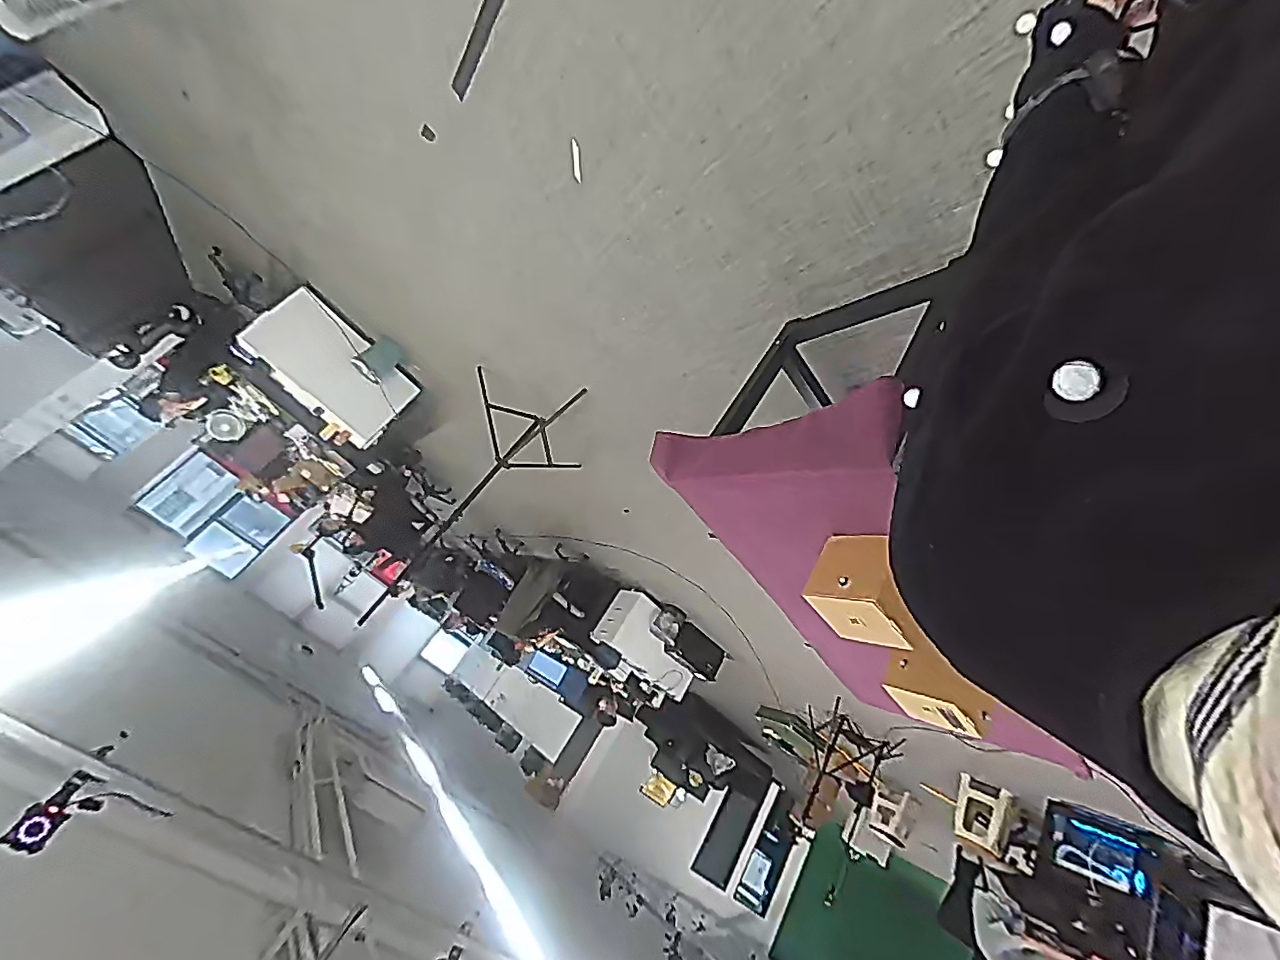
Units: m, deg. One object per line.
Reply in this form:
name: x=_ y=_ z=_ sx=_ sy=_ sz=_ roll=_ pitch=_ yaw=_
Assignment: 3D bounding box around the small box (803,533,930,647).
small box: x=0.487 y=0.225 z=1.147 sx=0.168 sy=0.176 sz=0.179 roll=46 pitch=154 yaw=-21
